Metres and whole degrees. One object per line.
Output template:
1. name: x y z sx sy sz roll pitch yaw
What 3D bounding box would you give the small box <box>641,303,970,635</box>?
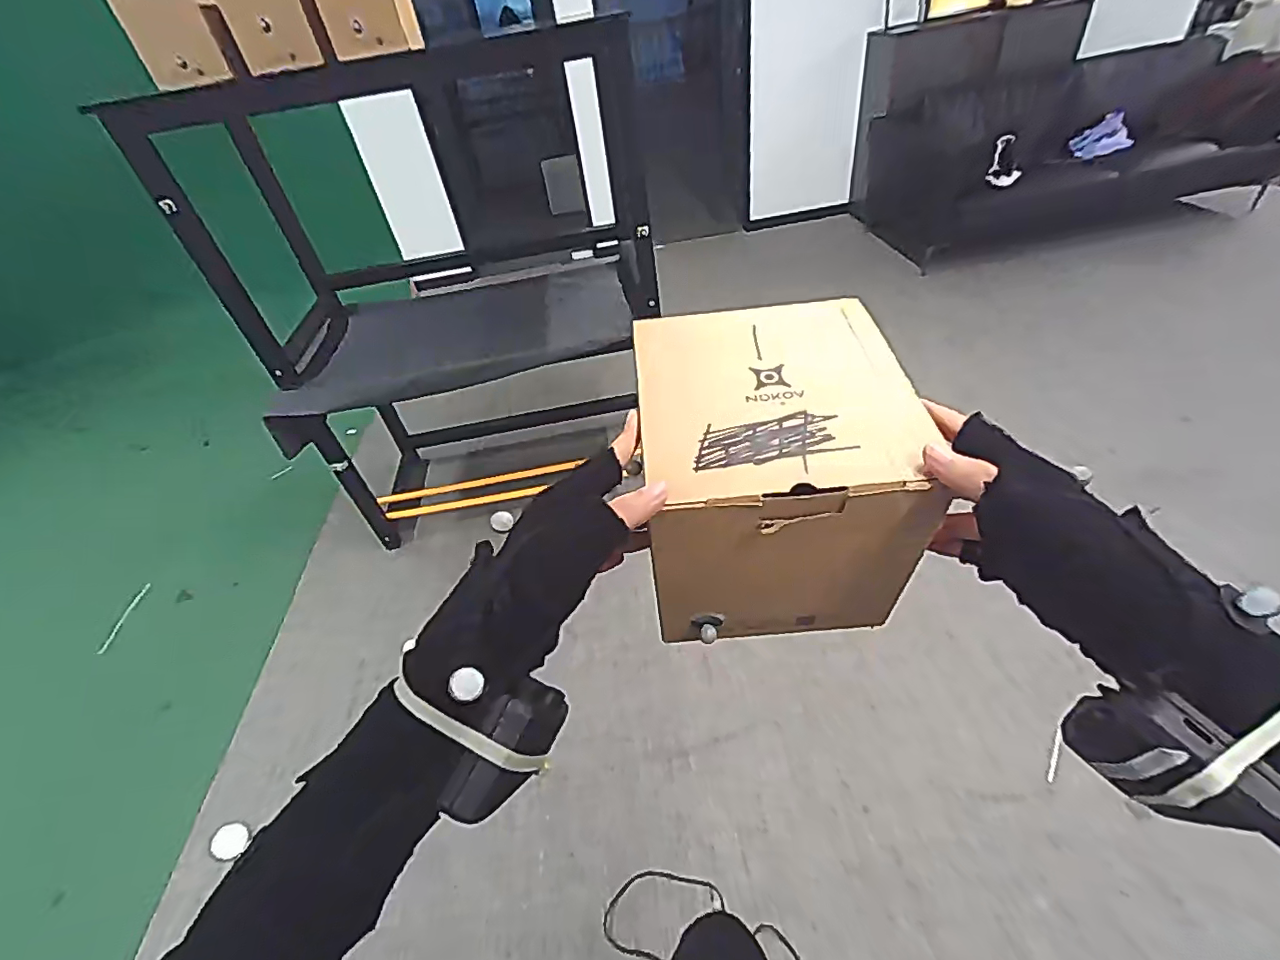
1. small box: 0.091 0.000 0.390 0.168 0.176 0.179 -5 48 2

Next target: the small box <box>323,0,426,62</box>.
1. small box: -0.601 -1.062 1.221 0.168 0.176 0.179 -10 42 0
